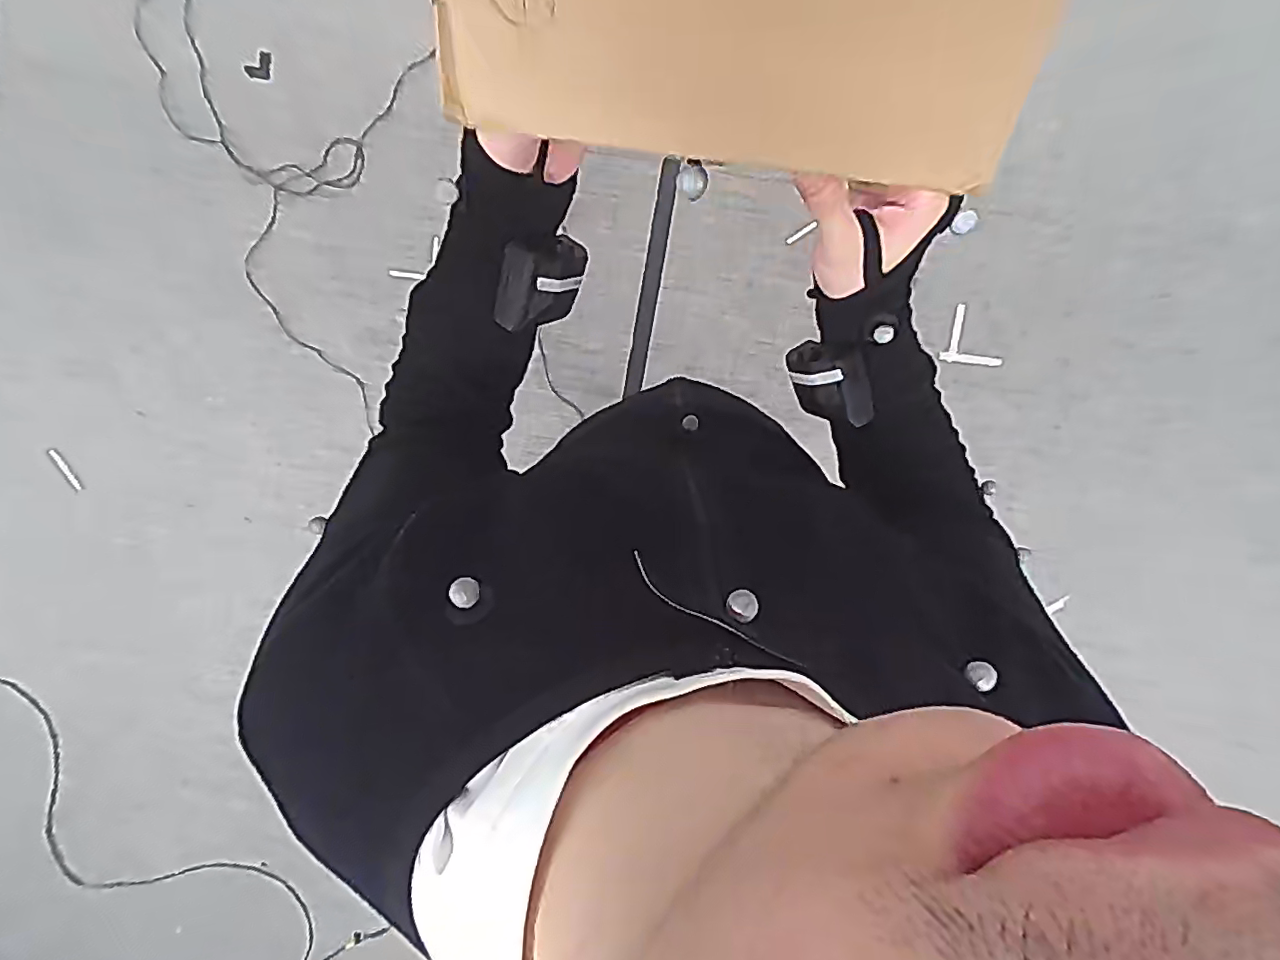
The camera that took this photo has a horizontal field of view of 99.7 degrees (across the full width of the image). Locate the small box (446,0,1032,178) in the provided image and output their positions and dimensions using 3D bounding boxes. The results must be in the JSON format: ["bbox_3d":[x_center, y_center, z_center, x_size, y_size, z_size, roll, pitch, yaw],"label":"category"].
[{"bbox_3d":[0.041,-0.222,0.206,0.179,0.176,0.168,9,123,3],"label":"small box"}]
